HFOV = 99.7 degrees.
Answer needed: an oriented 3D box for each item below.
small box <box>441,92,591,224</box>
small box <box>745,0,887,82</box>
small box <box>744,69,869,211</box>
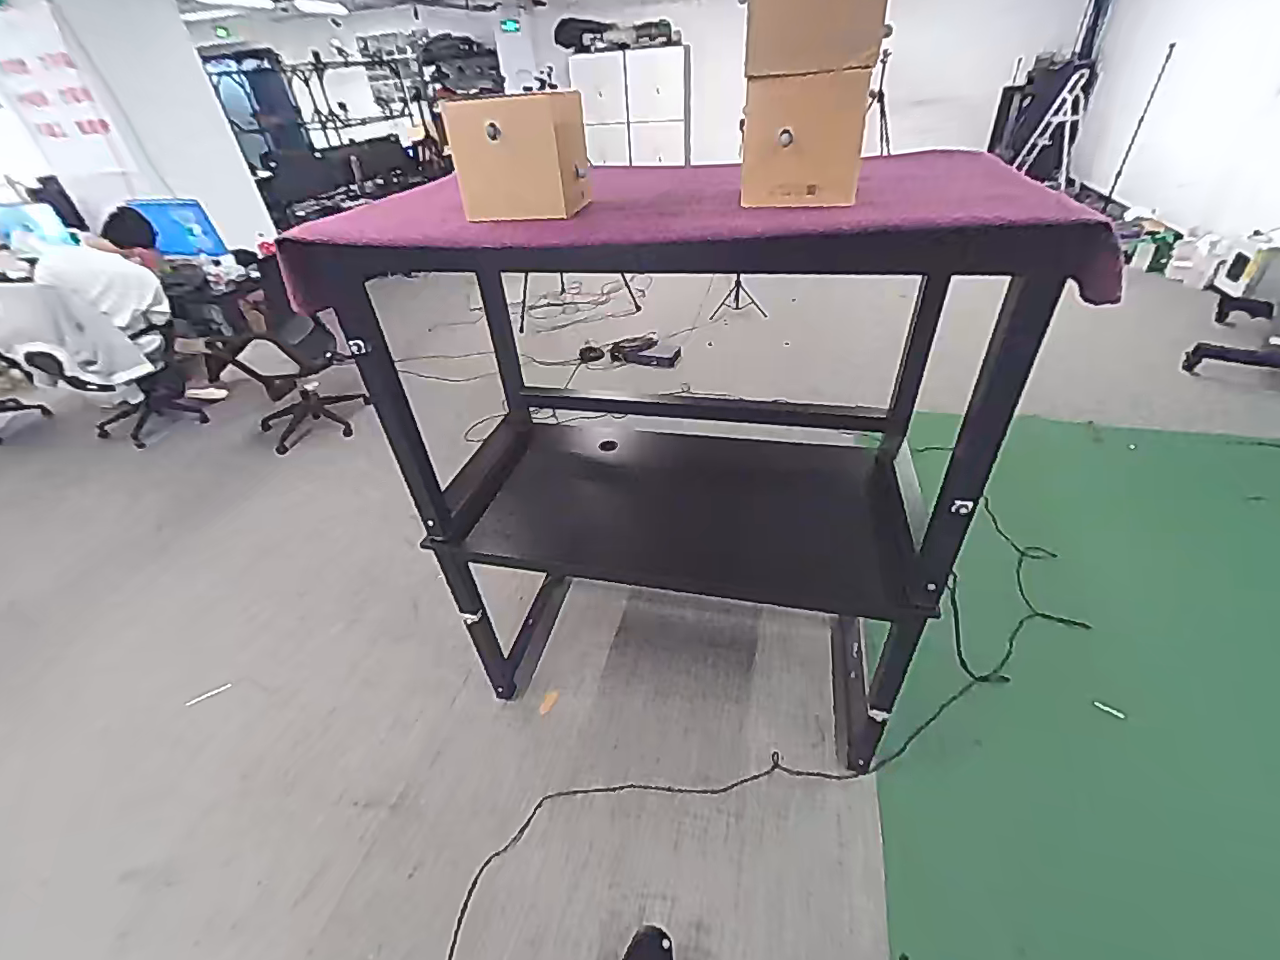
[{"bbox_3d":[-0.191,-0.528,0.890,0.179,0.176,0.168,3,37,10],"label":"small box"},{"bbox_3d":[0.238,-0.648,0.734,0.179,0.176,0.168,6,37,14],"label":"small box"},{"bbox_3d":[0.255,-0.521,0.835,0.168,0.176,0.179,7,37,16],"label":"small box"}]
